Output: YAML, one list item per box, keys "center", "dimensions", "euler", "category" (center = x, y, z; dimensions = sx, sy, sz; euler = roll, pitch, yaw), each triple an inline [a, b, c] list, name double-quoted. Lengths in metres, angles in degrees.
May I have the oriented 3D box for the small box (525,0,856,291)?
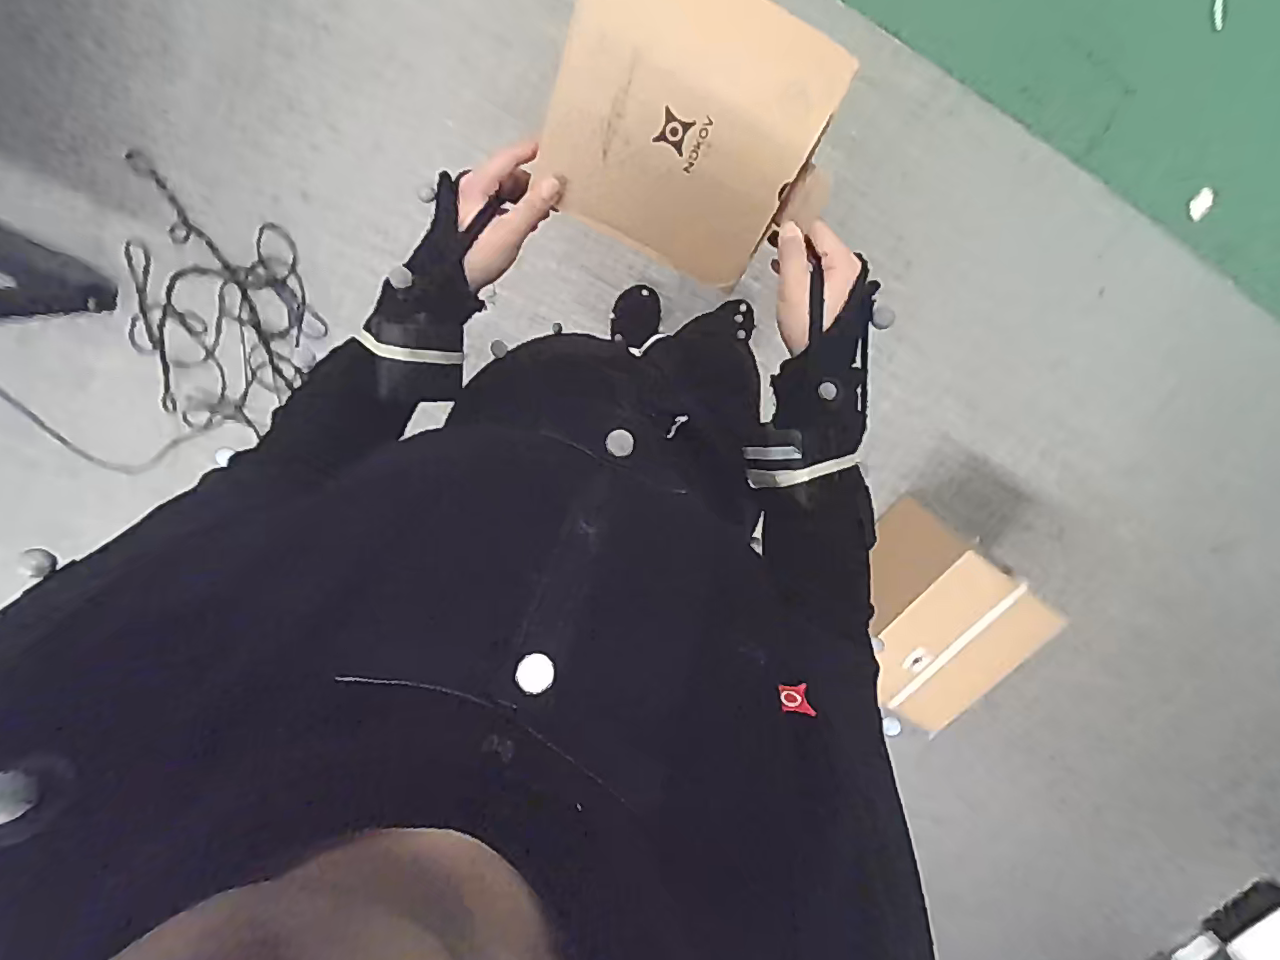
- center: [0.033, -0.284, 0.423]
  dimensions: [0.179, 0.176, 0.168]
  euler: [21, 129, -8]
  category: "small box"

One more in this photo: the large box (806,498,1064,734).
- center: [0.690, 0.323, 1.338]
  dimensions: [0.320, 0.320, 0.408]
  euler: [33, 109, -11]
  category: "large box"
